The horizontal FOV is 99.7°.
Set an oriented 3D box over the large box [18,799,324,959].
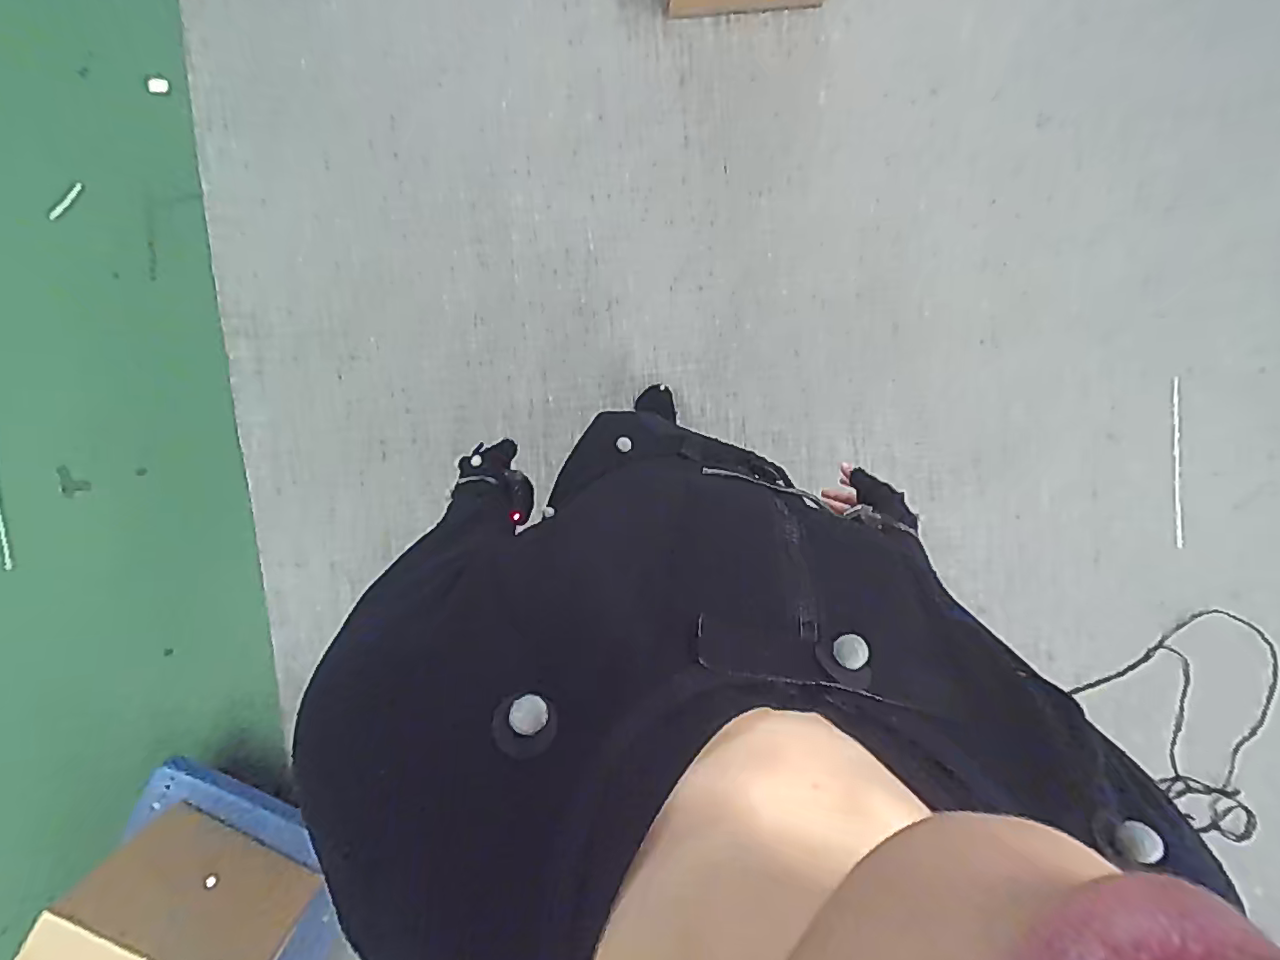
[{"bbox_3d":[-1.018,1.003,1.181,0.408,0.320,0.320,31,94,-4],"label":"large box"}]
